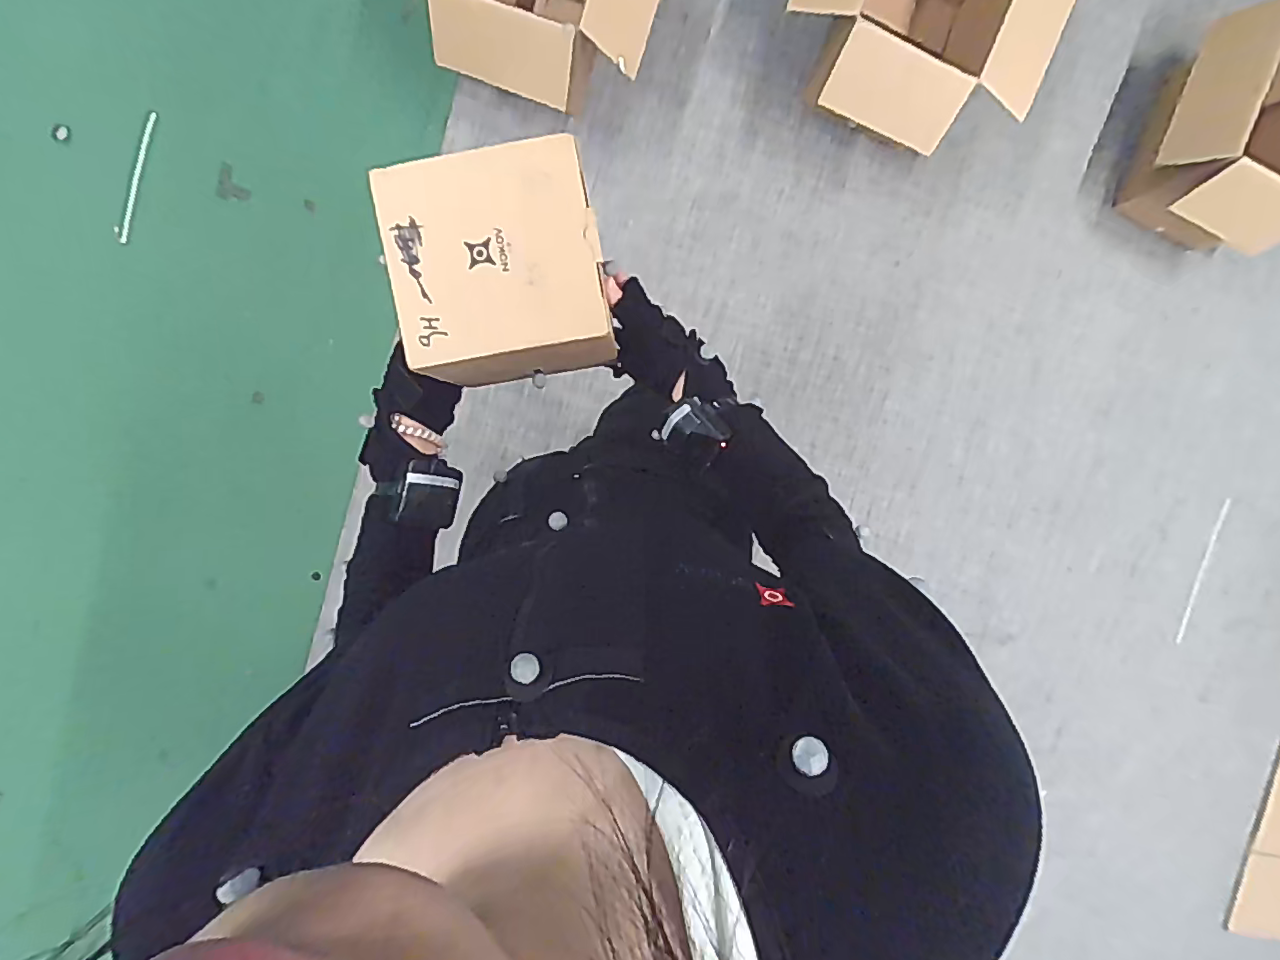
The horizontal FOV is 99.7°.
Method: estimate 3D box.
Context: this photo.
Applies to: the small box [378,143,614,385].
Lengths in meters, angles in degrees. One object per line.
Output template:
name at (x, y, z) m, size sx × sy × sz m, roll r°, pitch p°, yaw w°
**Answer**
small box at (-0.122, -0.194, 0.534) m, size 0.179 × 0.176 × 0.168 m, roll -9°, pitch 94°, yaw 0°
